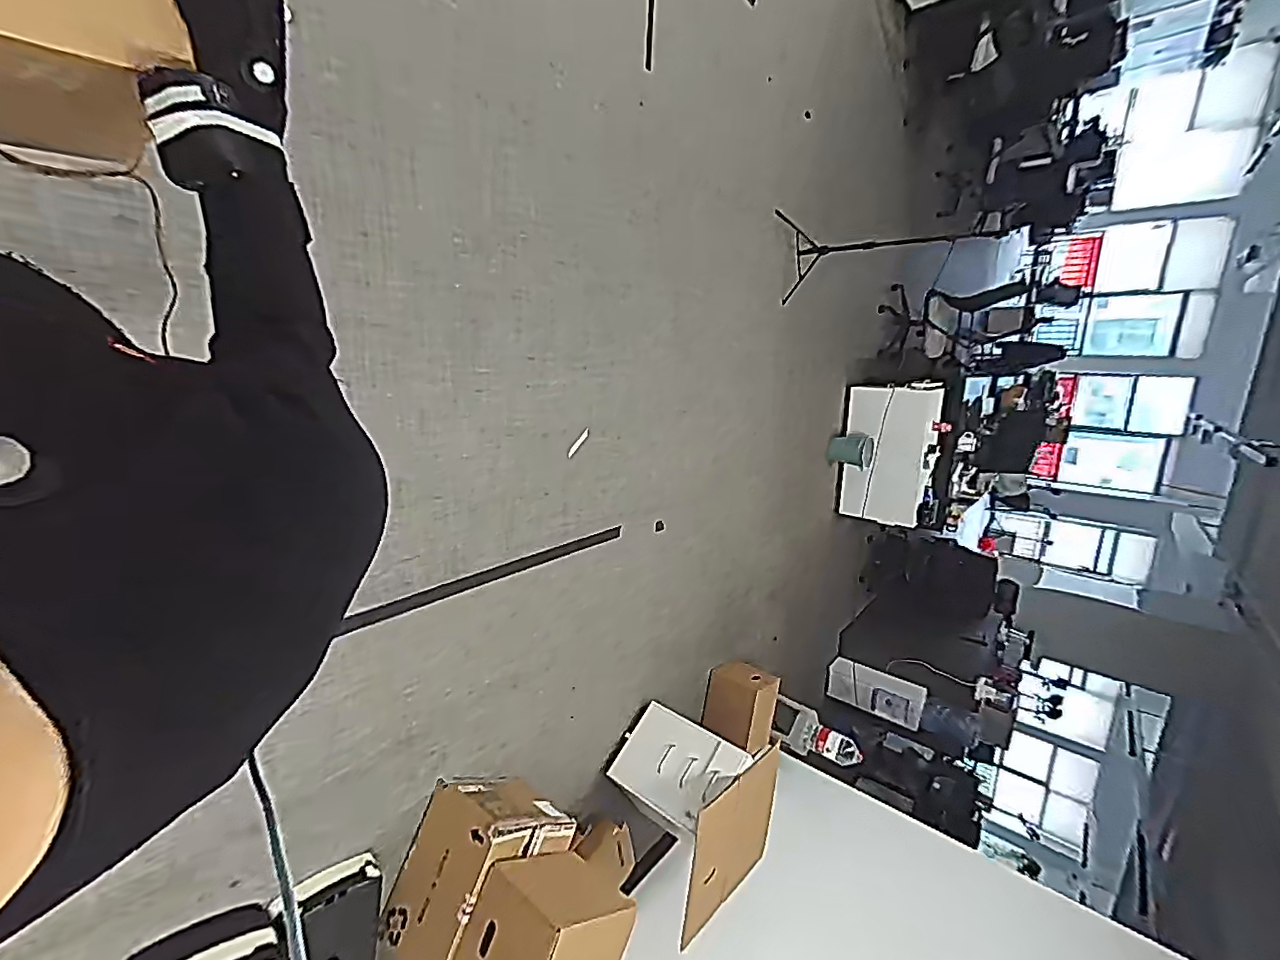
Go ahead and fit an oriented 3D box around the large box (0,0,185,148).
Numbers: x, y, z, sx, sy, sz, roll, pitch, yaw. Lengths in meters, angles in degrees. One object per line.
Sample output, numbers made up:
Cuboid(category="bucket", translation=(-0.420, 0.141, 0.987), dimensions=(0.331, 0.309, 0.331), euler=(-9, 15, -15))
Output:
Cuboid(category="large box", translation=(-0.573, -0.426, 0.299), dimensions=(0.408, 0.320, 0.320), euler=(-18, 115, -47))
